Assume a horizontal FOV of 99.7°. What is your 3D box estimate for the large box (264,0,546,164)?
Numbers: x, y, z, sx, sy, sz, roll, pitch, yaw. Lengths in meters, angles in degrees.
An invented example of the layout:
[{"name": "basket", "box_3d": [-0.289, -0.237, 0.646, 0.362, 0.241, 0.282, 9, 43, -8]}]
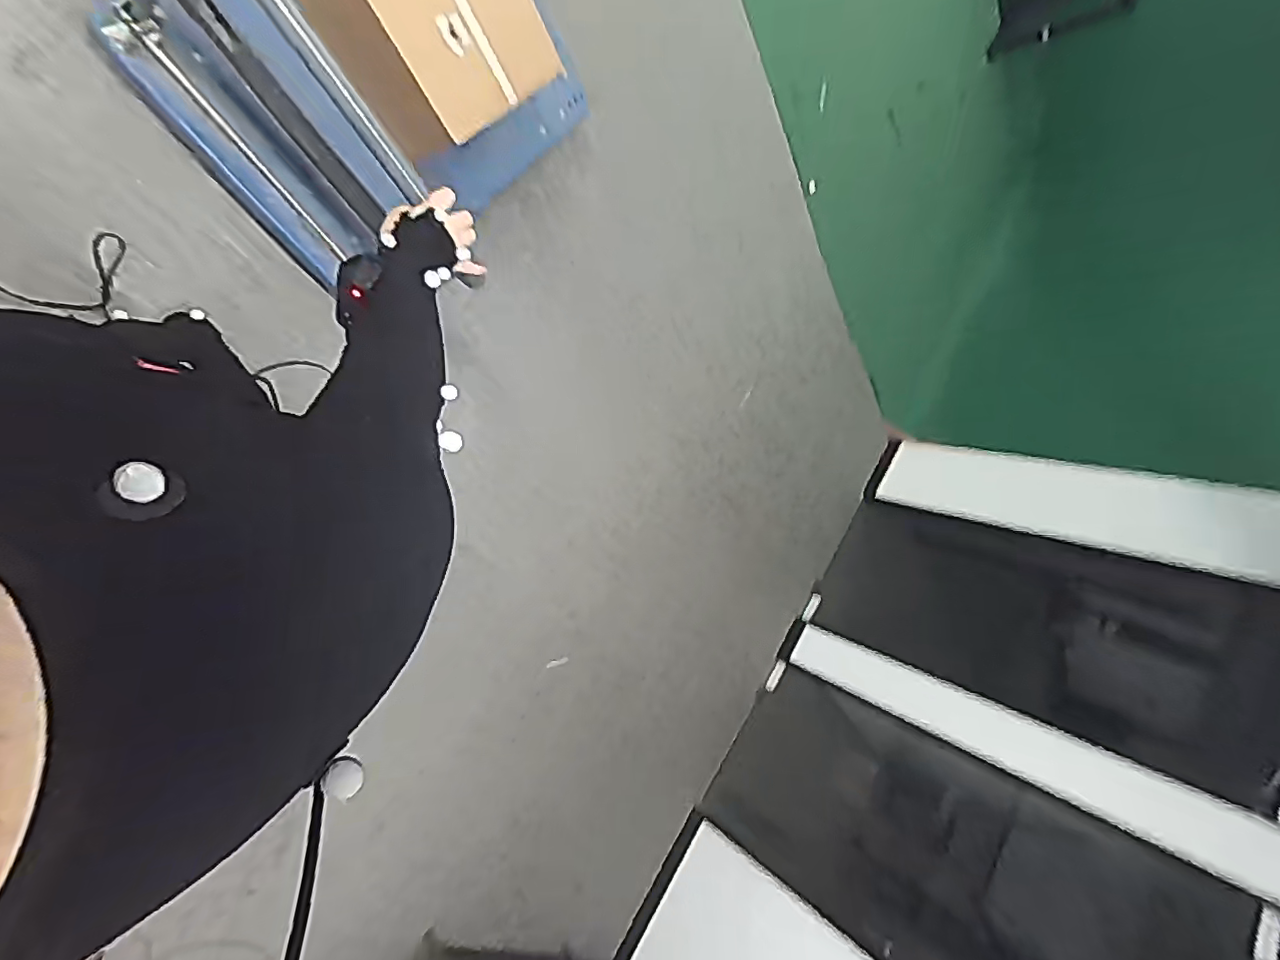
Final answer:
[{"name": "large box", "box_3d": [-0.467, -0.906, 1.032, 0.320, 0.320, 0.408, -51, 132, -21]}]
